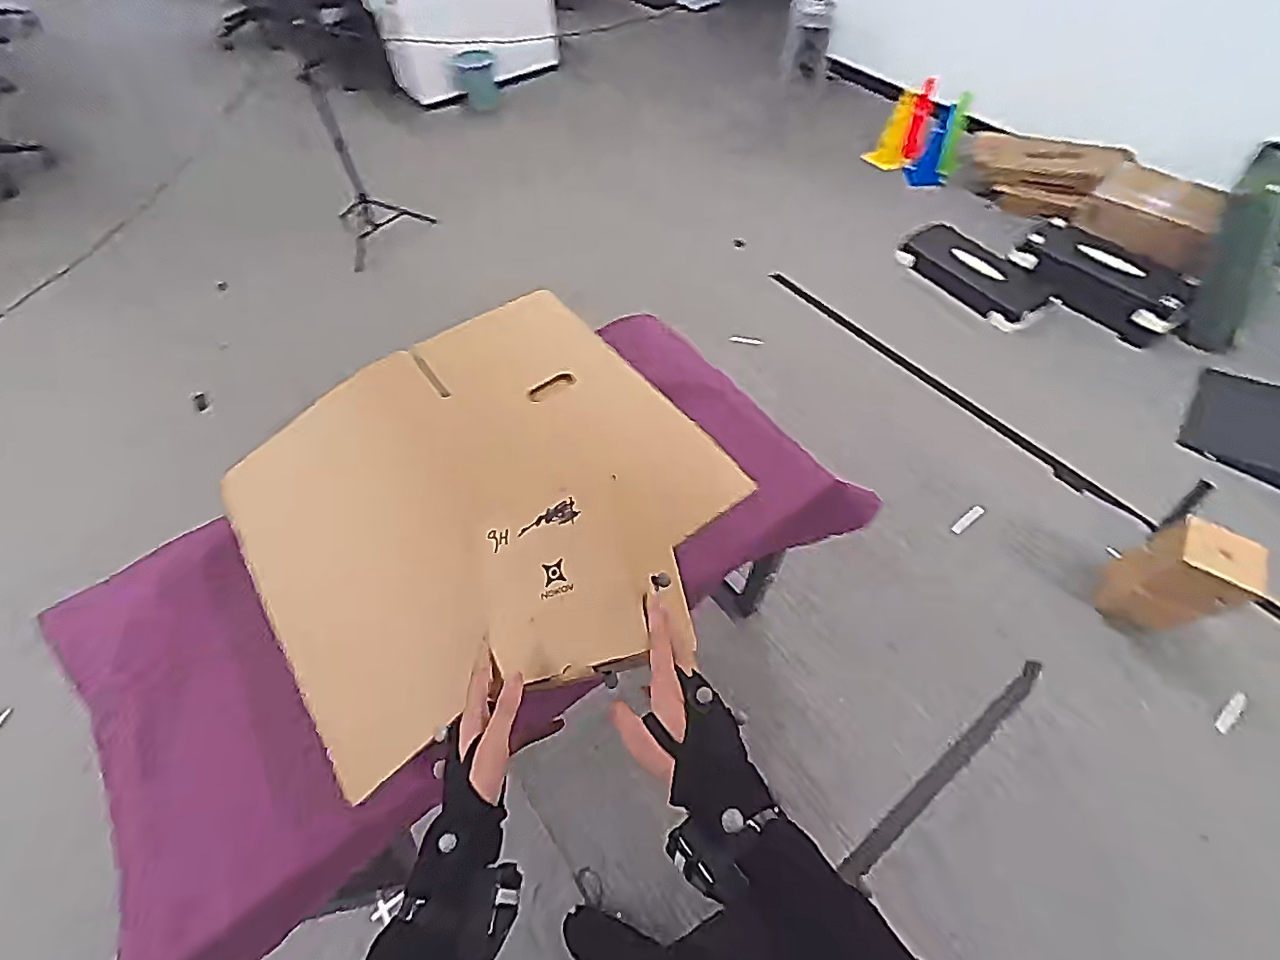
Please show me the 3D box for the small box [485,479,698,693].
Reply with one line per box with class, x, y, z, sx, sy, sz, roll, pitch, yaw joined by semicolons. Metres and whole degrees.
small box;-0.046;0.121;0.600;0.168;0.176;0.179;-19;69;14
